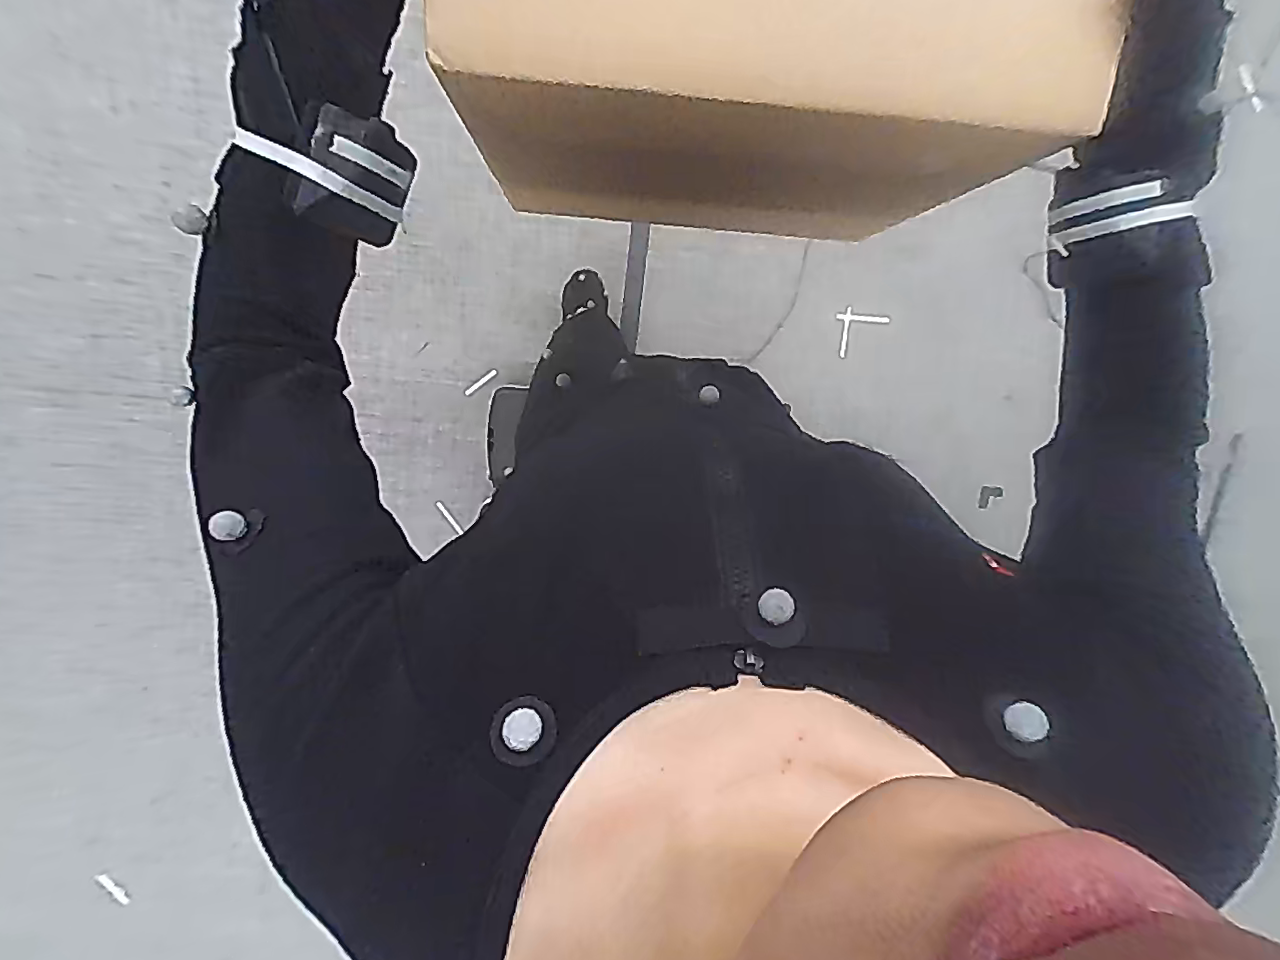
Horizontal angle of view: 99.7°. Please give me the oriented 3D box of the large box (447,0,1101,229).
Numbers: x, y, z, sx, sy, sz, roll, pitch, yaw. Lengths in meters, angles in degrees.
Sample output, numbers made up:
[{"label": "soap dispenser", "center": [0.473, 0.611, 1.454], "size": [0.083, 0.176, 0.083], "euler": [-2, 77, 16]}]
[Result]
[{"label": "large box", "center": [0.077, -0.415, 0.444], "size": [0.408, 0.320, 0.320], "euler": [2, 103, -6]}]
